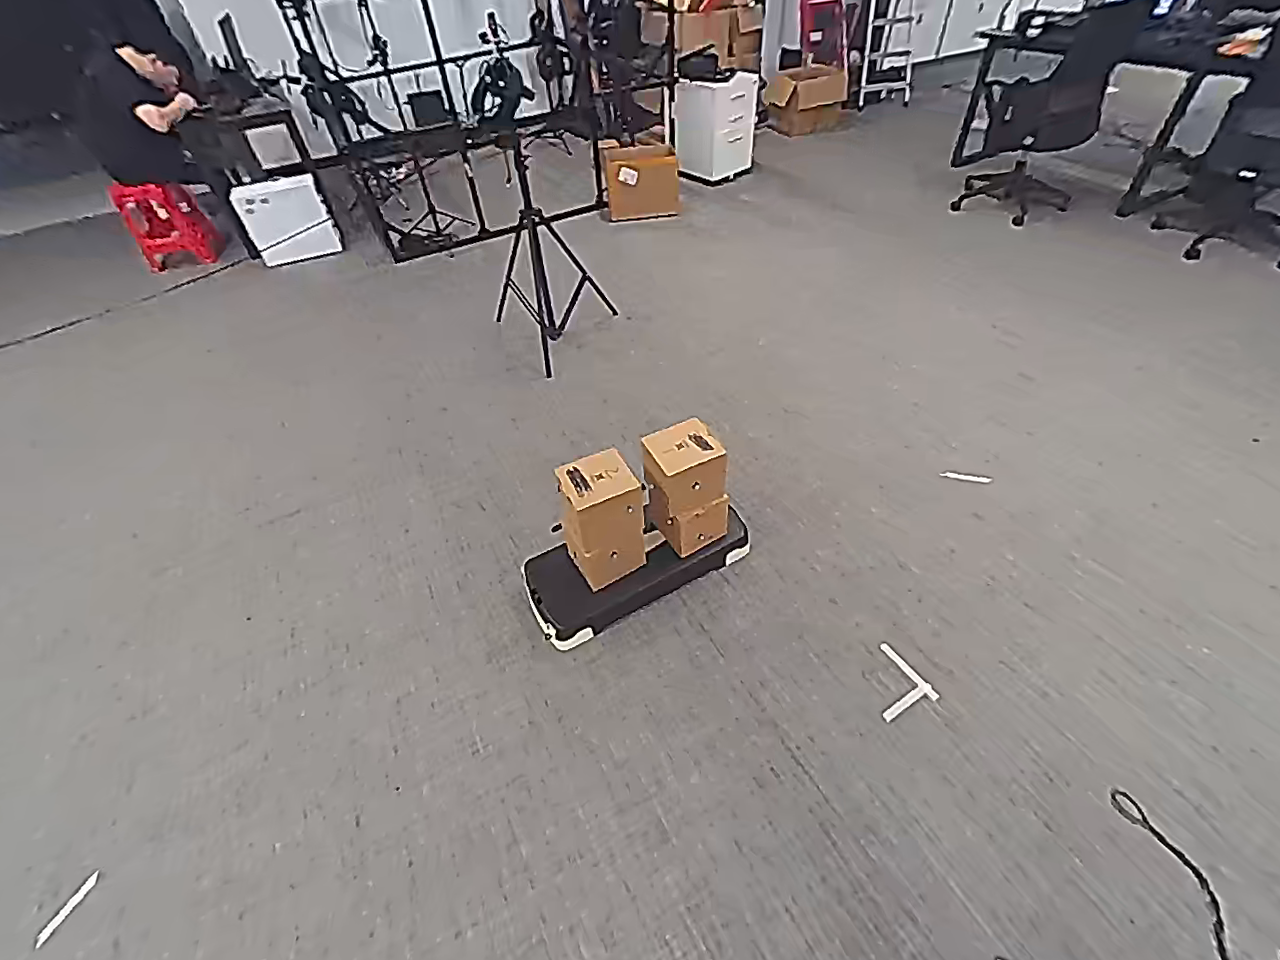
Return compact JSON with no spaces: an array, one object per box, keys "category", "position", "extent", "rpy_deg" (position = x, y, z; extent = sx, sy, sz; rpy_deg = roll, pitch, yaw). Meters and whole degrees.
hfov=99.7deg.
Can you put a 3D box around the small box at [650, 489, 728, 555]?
[{"category":"small box","position":[0.138,0.087,1.589],"extent":[0.168,0.176,0.179],"rpy_deg":[-26,50,-19]}]

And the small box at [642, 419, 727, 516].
[{"category":"small box","position":[0.118,-0.034,1.478],"extent":[0.179,0.176,0.168],"rpy_deg":[-22,49,-14]}]
